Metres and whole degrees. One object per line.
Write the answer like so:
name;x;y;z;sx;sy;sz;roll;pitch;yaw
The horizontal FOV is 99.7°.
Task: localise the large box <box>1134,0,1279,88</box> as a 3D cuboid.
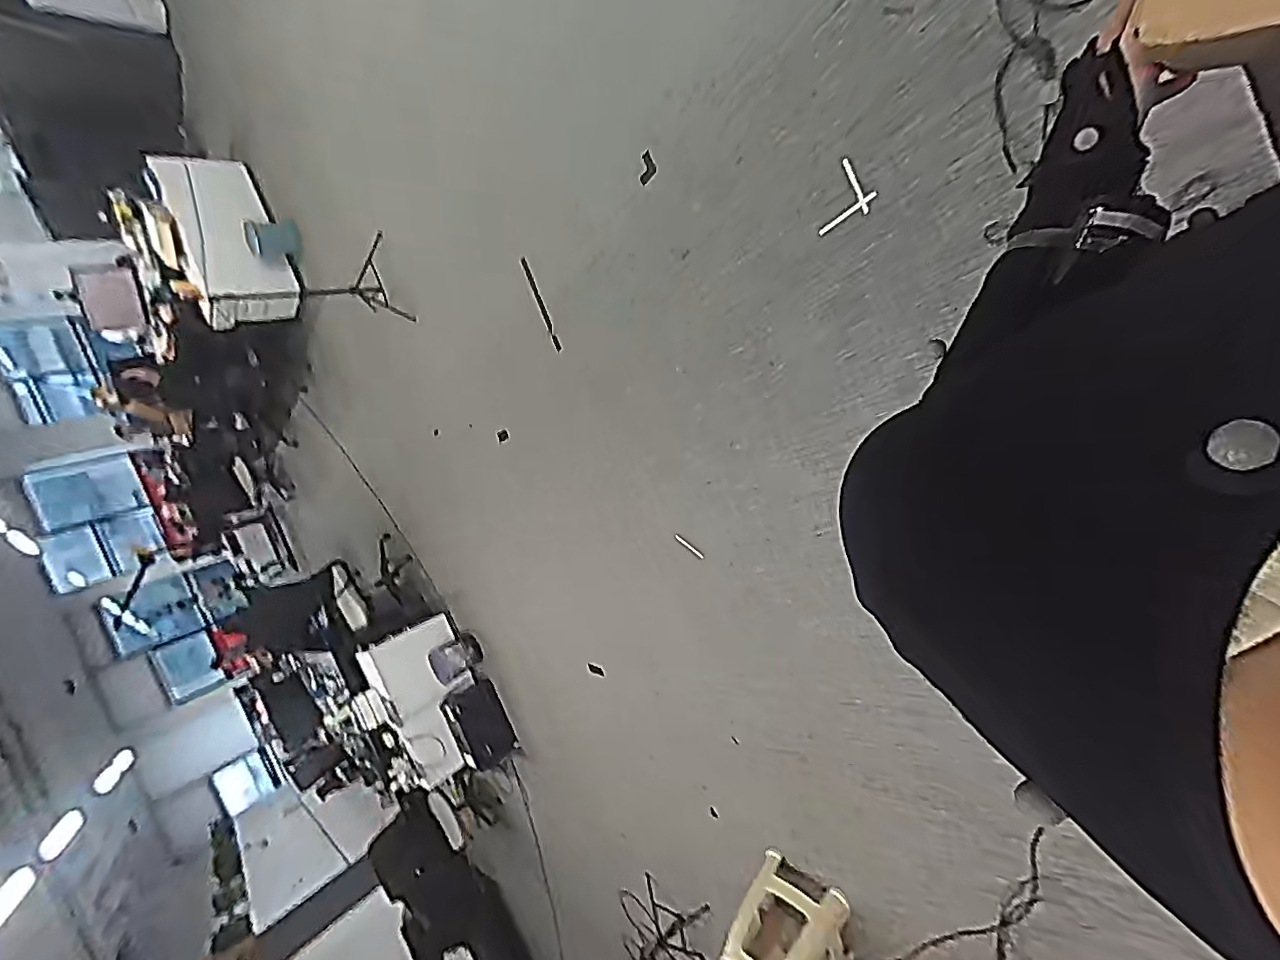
large box;0.427;-0.329;0.129;0.408;0.320;0.320;16;127;39
